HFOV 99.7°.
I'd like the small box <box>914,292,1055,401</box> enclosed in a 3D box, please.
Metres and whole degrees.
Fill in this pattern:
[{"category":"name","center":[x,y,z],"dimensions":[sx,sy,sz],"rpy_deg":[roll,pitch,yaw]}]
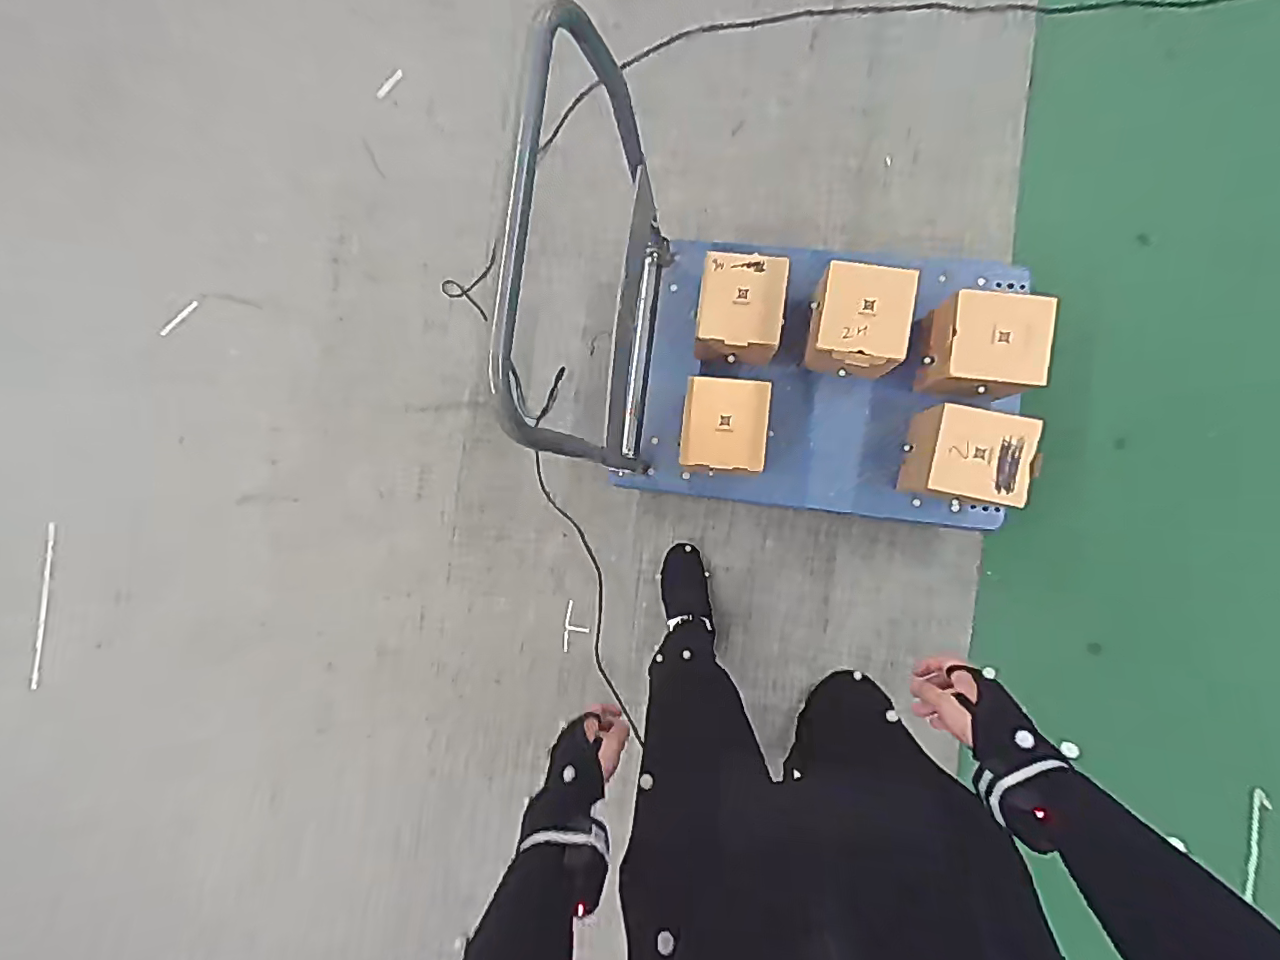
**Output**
[{"category":"small box","center":[0.676,-0.259,1.082],"dimensions":[0.179,0.176,0.168],"rpy_deg":[9,90,6]}]

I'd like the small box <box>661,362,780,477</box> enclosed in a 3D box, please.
[{"category":"small box","center":[0.165,-0.115,1.136],"dimensions":[0.179,0.176,0.168],"rpy_deg":[38,94,6]}]
